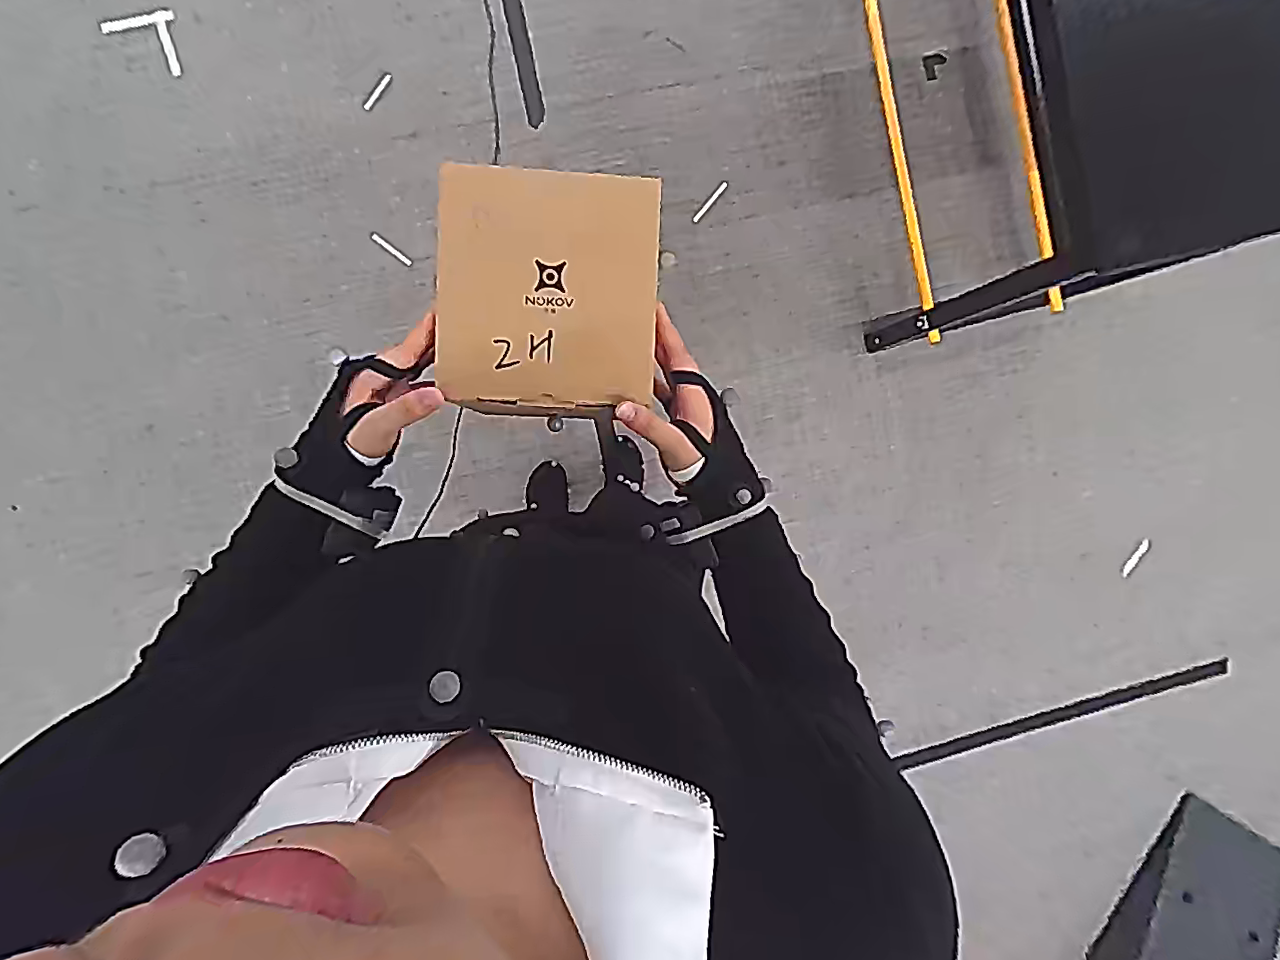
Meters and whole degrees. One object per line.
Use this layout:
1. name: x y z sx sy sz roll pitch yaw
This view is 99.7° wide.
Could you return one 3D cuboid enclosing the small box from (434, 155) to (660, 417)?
1. small box: -0.076 -0.154 0.487 0.168 0.176 0.179 2 93 -4
